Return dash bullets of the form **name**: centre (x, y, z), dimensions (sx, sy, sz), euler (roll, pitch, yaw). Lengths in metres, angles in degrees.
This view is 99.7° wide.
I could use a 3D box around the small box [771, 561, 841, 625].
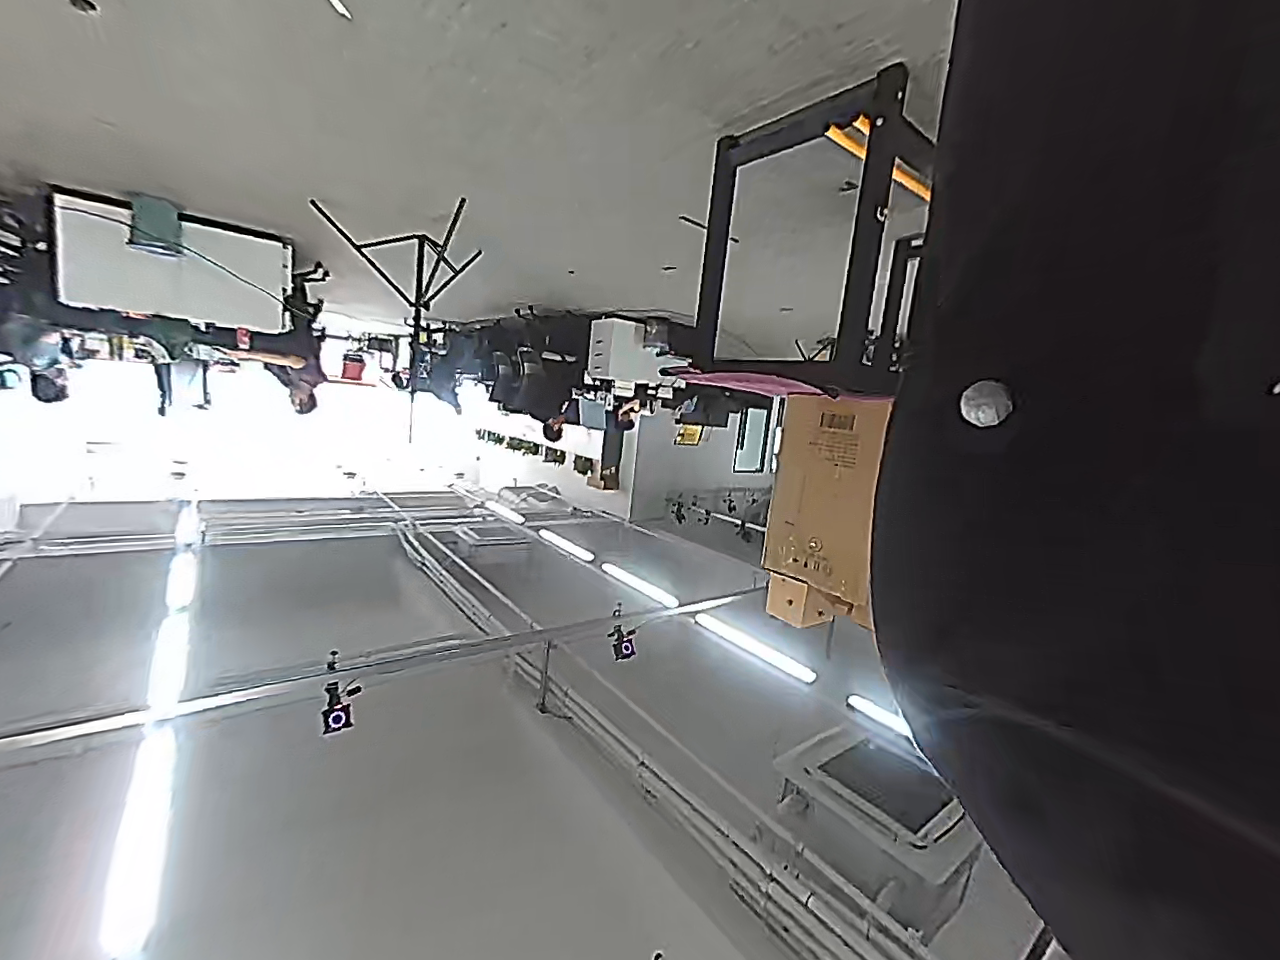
- **small box**: centre (0.593, 0.395, 1.929), dimensions (0.179, 0.176, 0.168), euler (-3, -168, -33)
